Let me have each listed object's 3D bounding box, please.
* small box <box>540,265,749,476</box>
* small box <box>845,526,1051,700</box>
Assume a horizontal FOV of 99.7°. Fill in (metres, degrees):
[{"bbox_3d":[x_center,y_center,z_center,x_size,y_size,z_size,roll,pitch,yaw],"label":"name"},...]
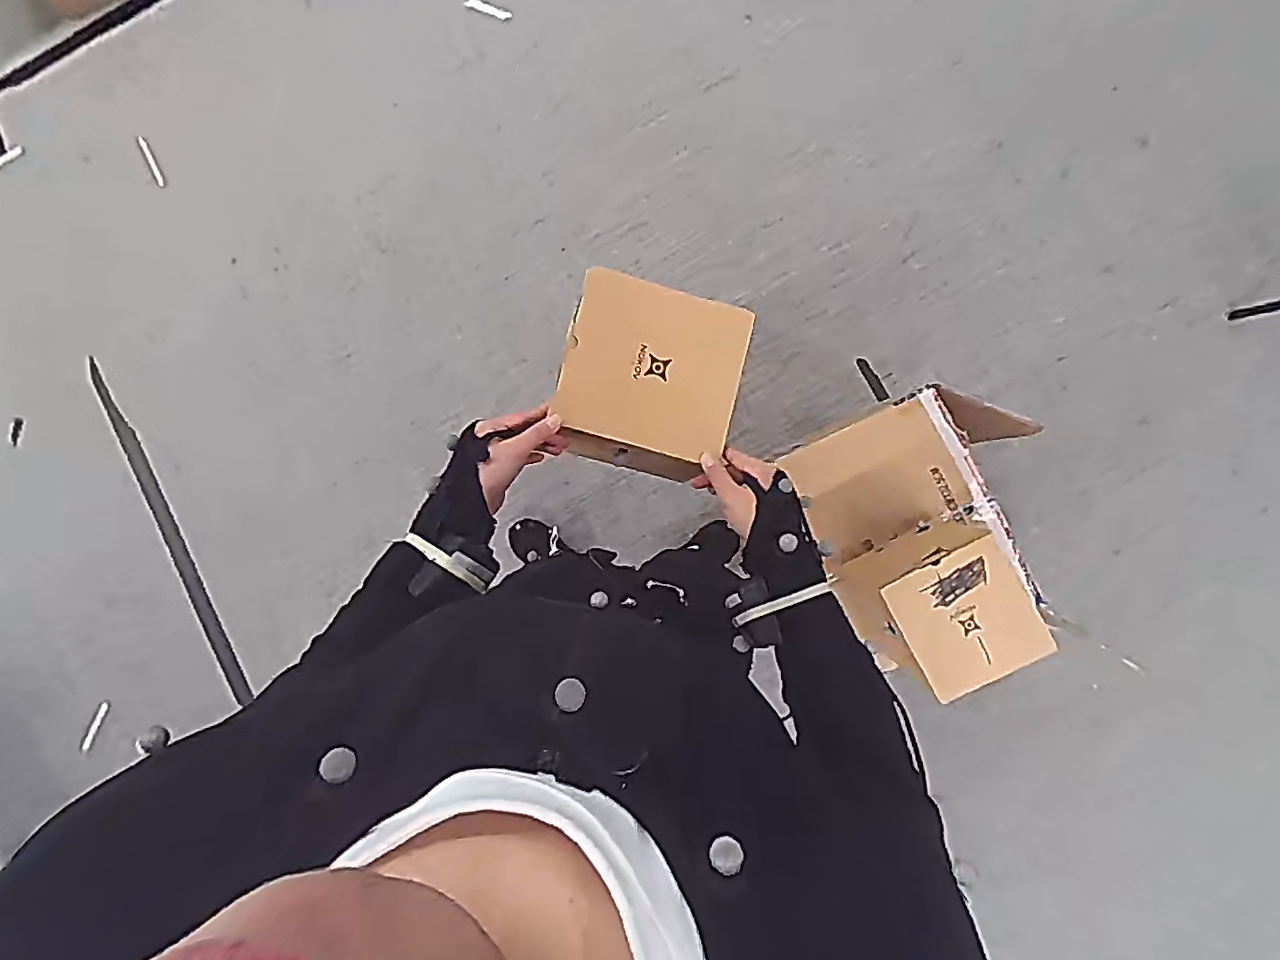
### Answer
[{"bbox_3d":[-0.001,-0.105,0.607,0.179,0.176,0.168,14,83,-4],"label":"small box"},{"bbox_3d":[0.426,0.177,0.784,0.168,0.176,0.179,-28,89,5],"label":"small box"}]
